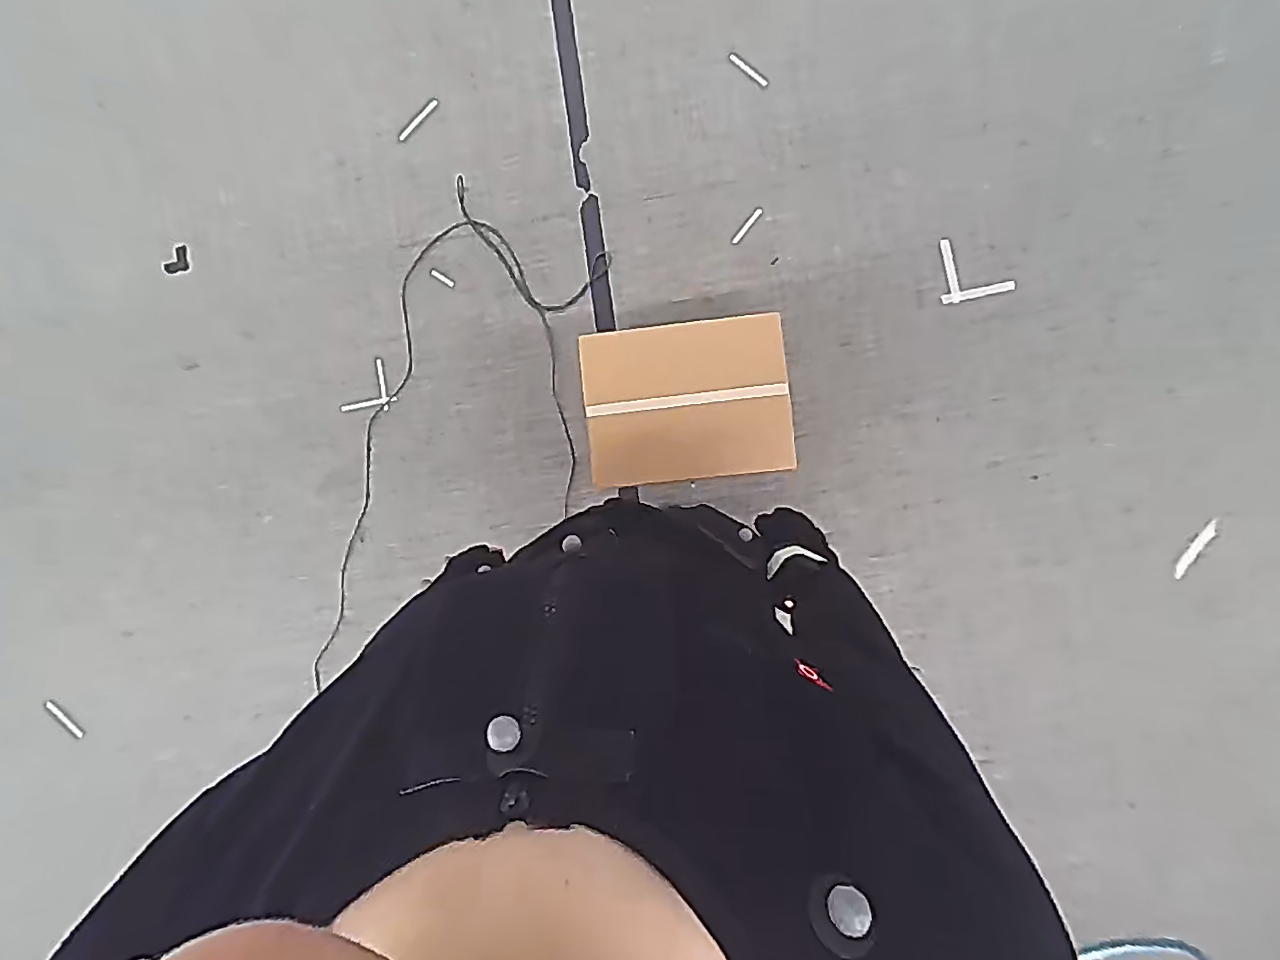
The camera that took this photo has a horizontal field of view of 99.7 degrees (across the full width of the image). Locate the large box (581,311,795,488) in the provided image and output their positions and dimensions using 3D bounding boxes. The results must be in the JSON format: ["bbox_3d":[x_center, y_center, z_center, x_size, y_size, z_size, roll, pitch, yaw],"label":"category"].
[{"bbox_3d":[0.101,-0.158,1.226,0.408,0.320,0.320,-6,89,4],"label":"large box"}]
